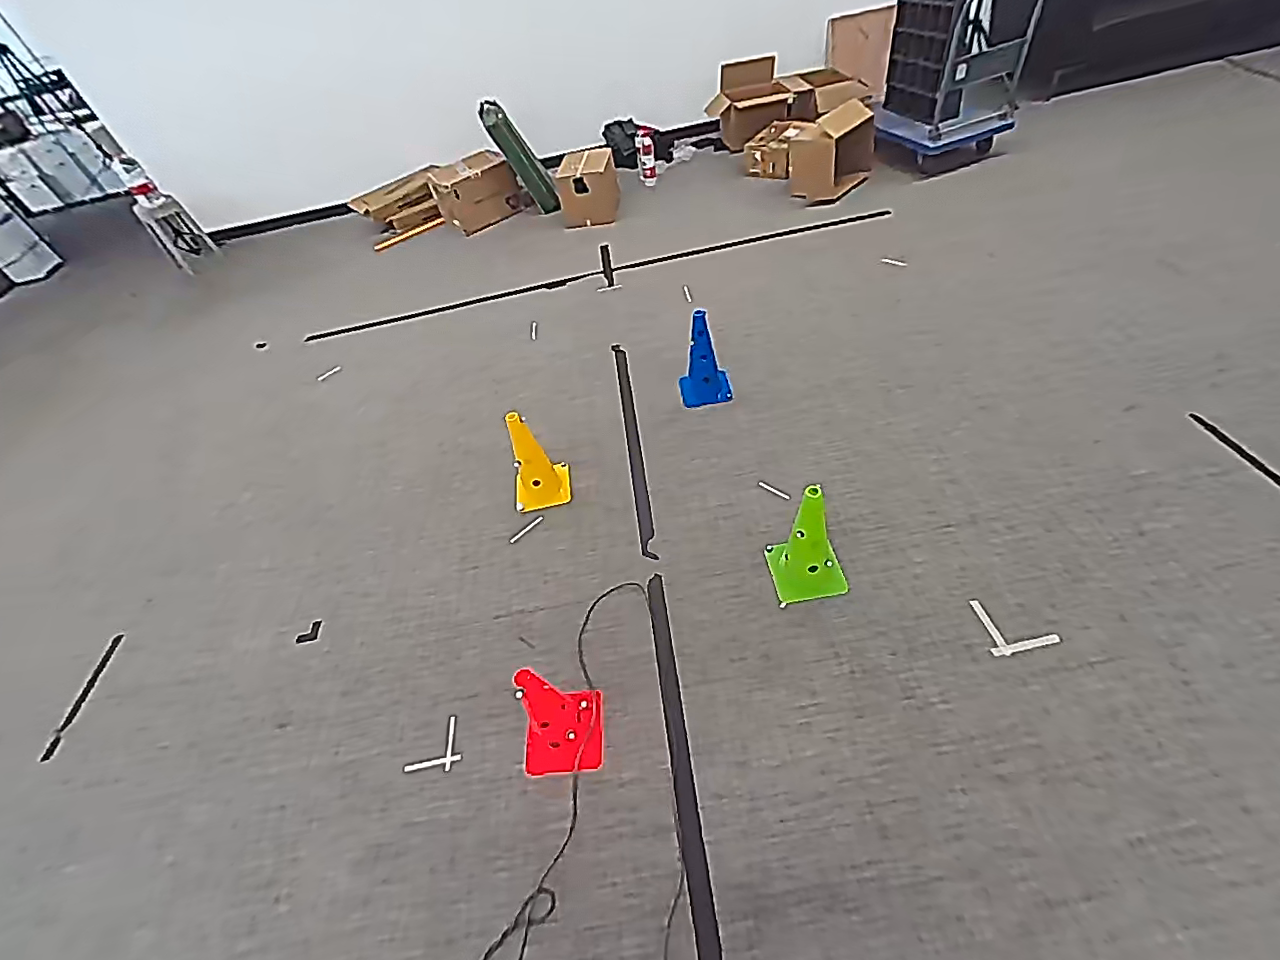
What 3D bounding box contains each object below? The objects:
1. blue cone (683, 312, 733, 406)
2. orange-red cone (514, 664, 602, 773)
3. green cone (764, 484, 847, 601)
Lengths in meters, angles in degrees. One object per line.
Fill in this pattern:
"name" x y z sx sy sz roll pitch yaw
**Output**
"blue cone" 0.256 -0.483 2.114 0.192 0.380 0.193 -7 48 4
"orange-red cone" -0.227 0.532 1.280 0.199 0.360 0.198 -8 46 6
"green cone" 0.463 0.148 1.478 0.202 0.368 0.200 -10 47 1
